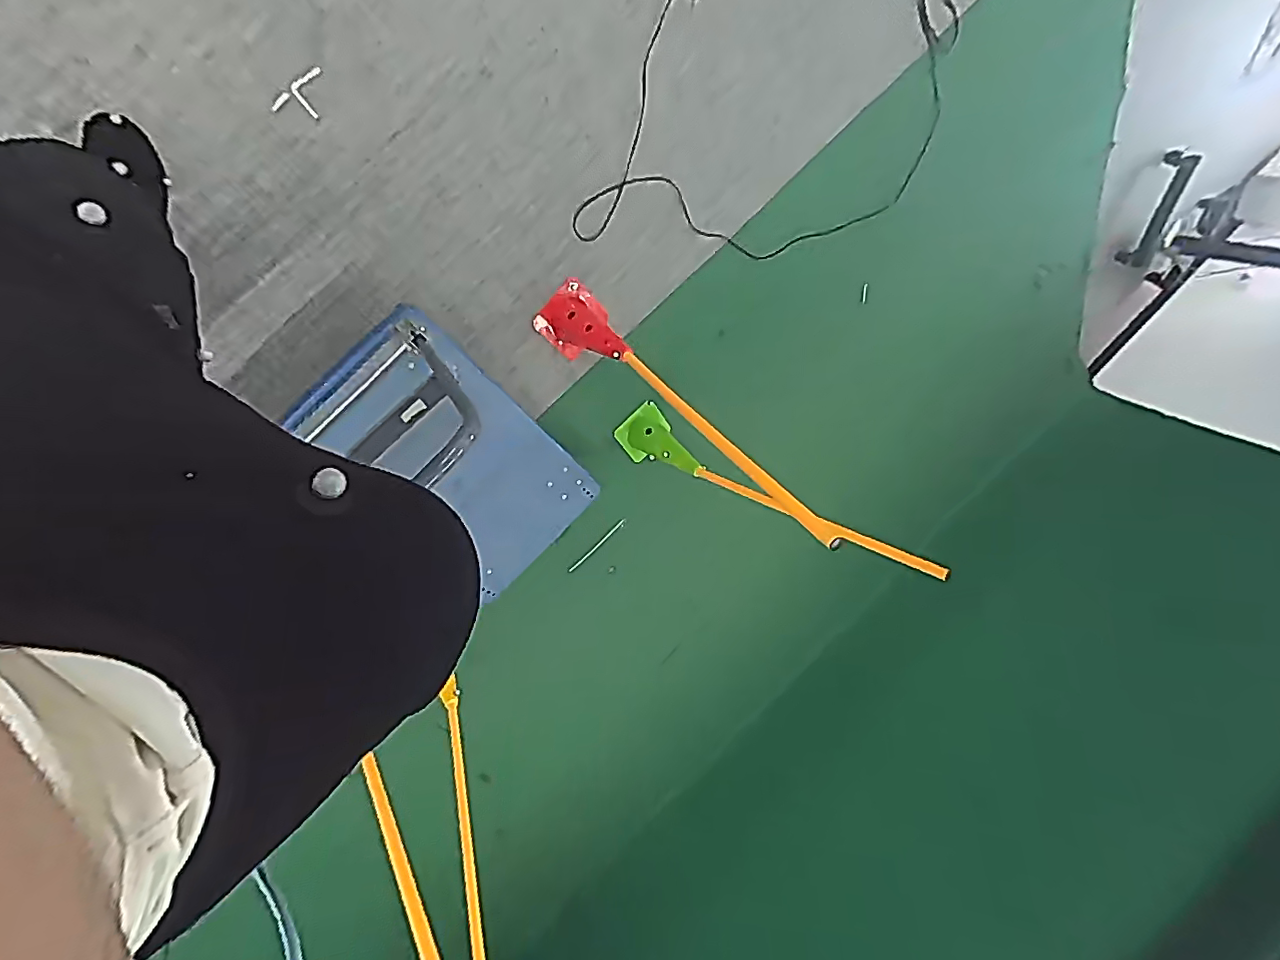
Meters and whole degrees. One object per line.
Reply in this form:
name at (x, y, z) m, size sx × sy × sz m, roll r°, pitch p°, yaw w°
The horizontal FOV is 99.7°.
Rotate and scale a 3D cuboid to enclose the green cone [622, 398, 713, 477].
green cone at (0.132, -0.111, 1.956) m, size 0.200 × 0.368 × 0.202 m, roll -45°, pitch 136°, yaw -3°
